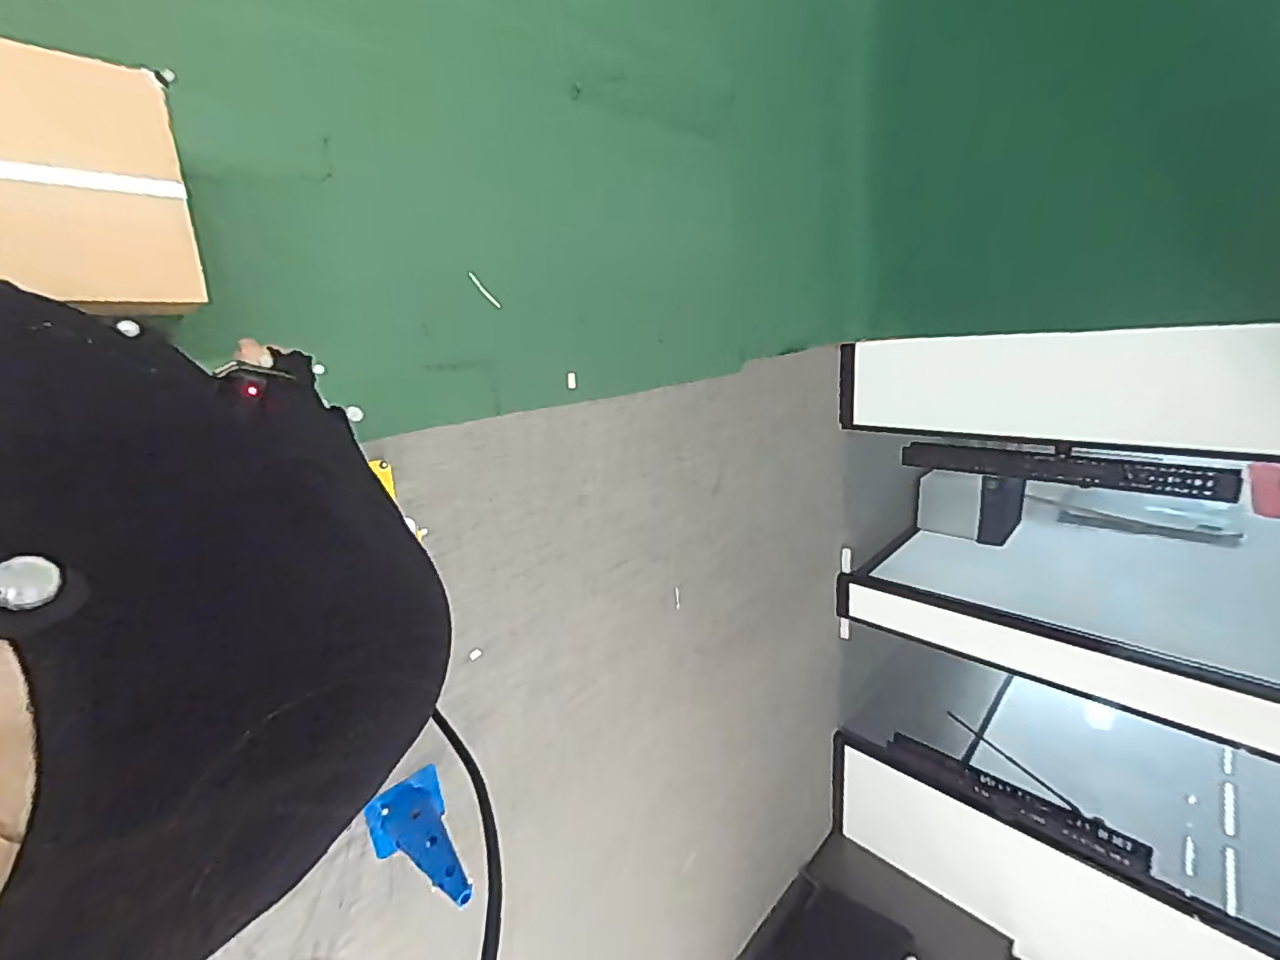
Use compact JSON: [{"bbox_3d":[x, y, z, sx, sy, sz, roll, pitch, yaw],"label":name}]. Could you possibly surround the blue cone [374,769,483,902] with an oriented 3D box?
[{"bbox_3d":[-0.520,0.950,1.392,0.192,0.380,0.193,-18,111,-41],"label":"blue cone"}]
